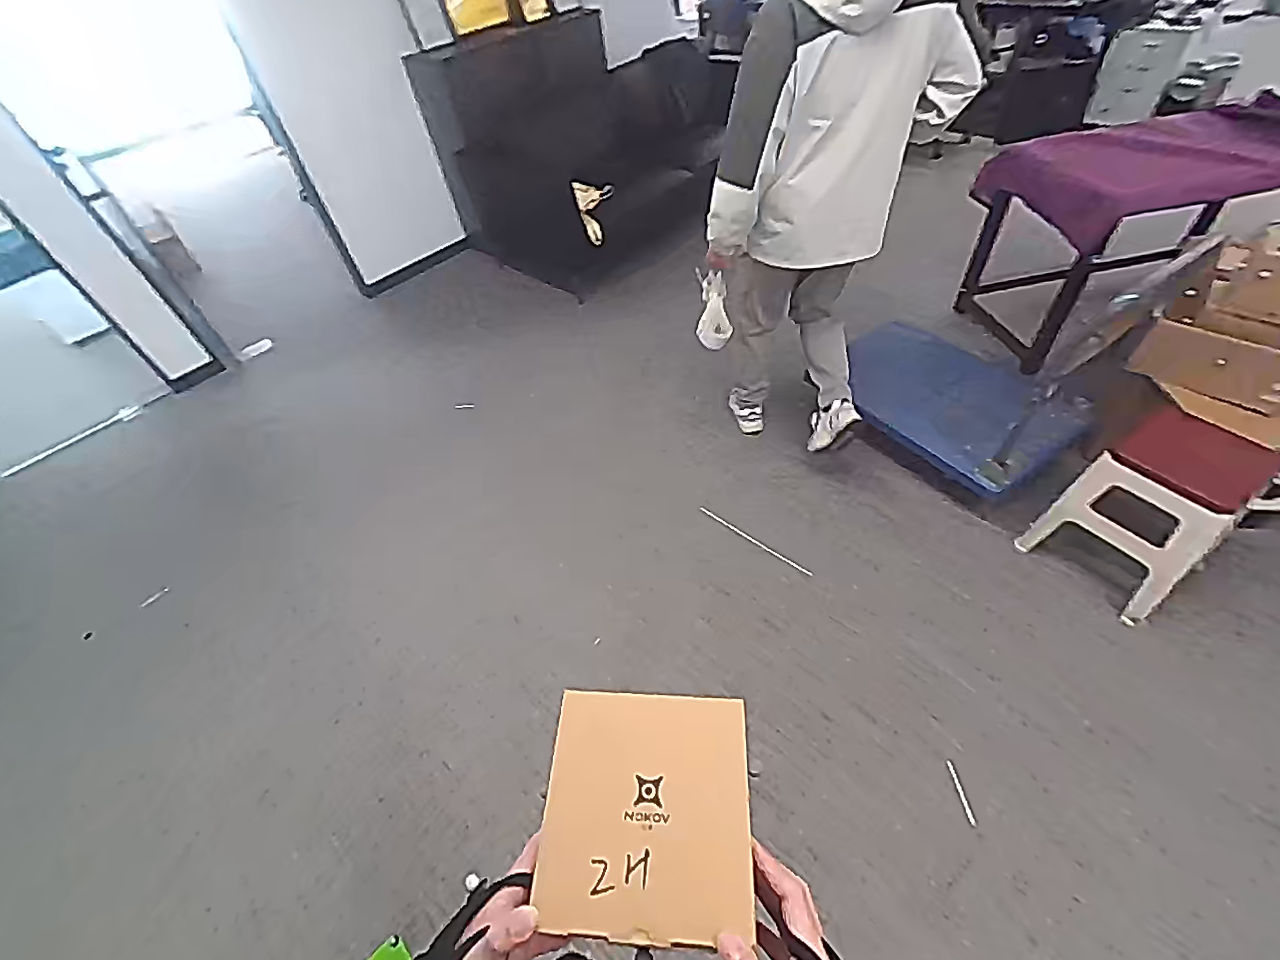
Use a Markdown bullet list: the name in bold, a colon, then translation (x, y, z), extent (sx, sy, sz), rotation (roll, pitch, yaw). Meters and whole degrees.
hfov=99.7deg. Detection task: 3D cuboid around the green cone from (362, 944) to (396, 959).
- **green cone**: translation (-0.616, 1.062, 1.044), extent (0.202, 0.368, 0.200), rotation (34, 61, 31)
